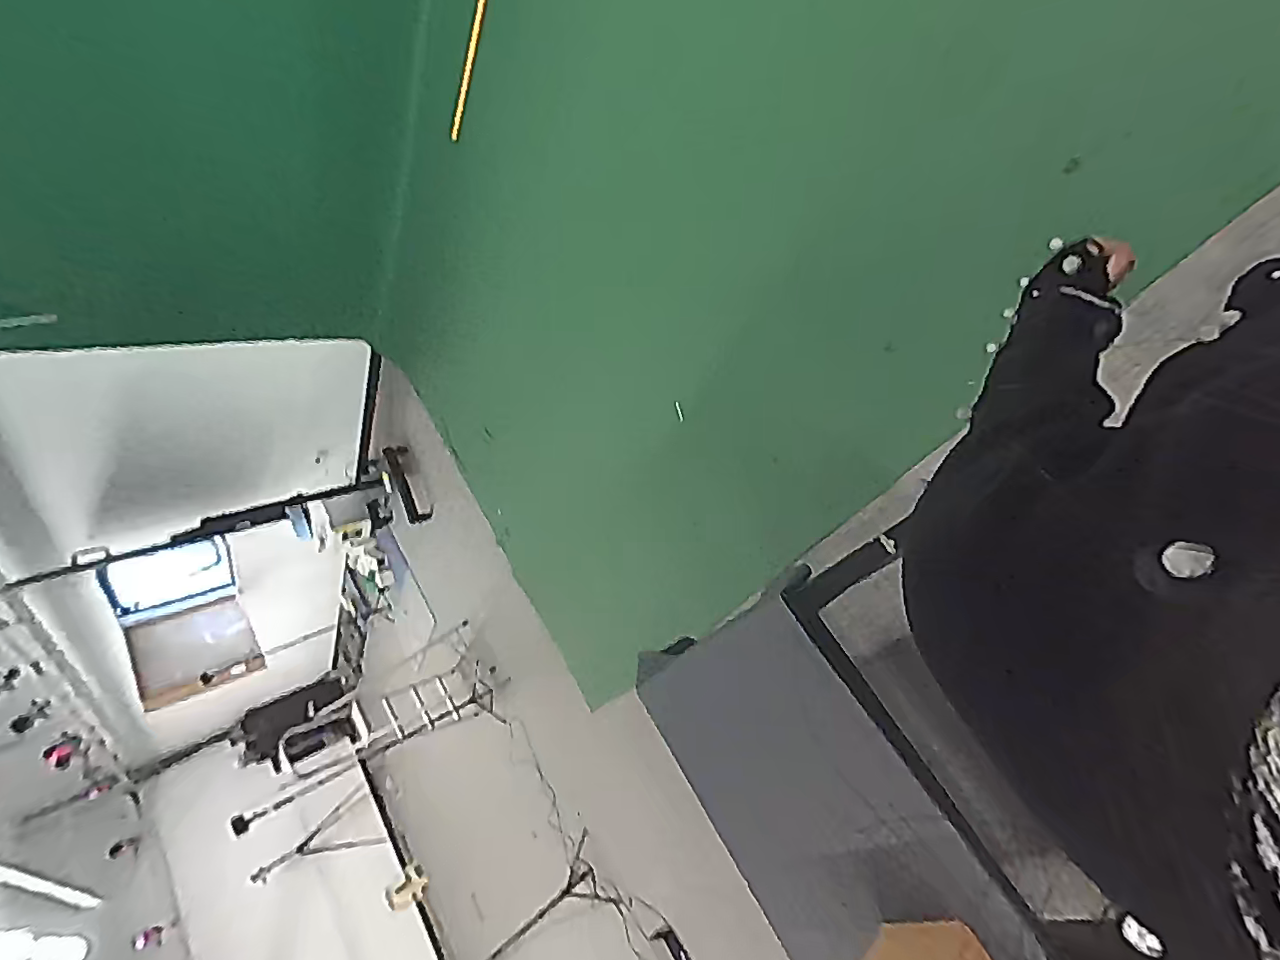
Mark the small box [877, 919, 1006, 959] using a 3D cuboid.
[{"bbox_3d":[0.486,0.831,0.843,0.168,0.176,0.179,55,136,20],"label":"small box"}]
